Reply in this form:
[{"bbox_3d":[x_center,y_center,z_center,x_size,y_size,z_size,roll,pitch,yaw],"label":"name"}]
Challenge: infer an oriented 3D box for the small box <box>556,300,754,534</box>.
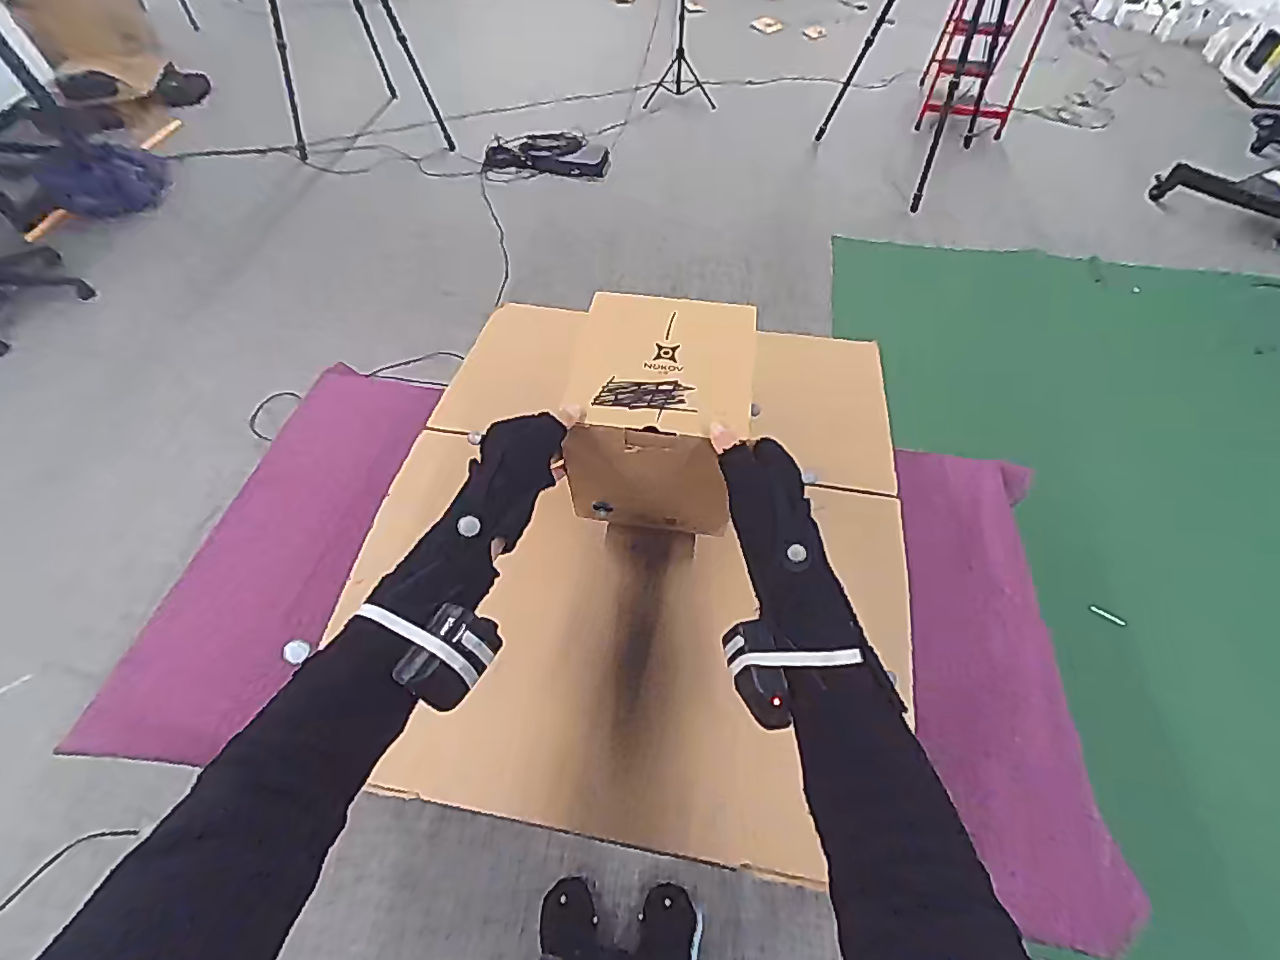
[{"bbox_3d":[0.022,-0.061,0.572,0.168,0.176,0.179,8,56,5],"label":"small box"}]
